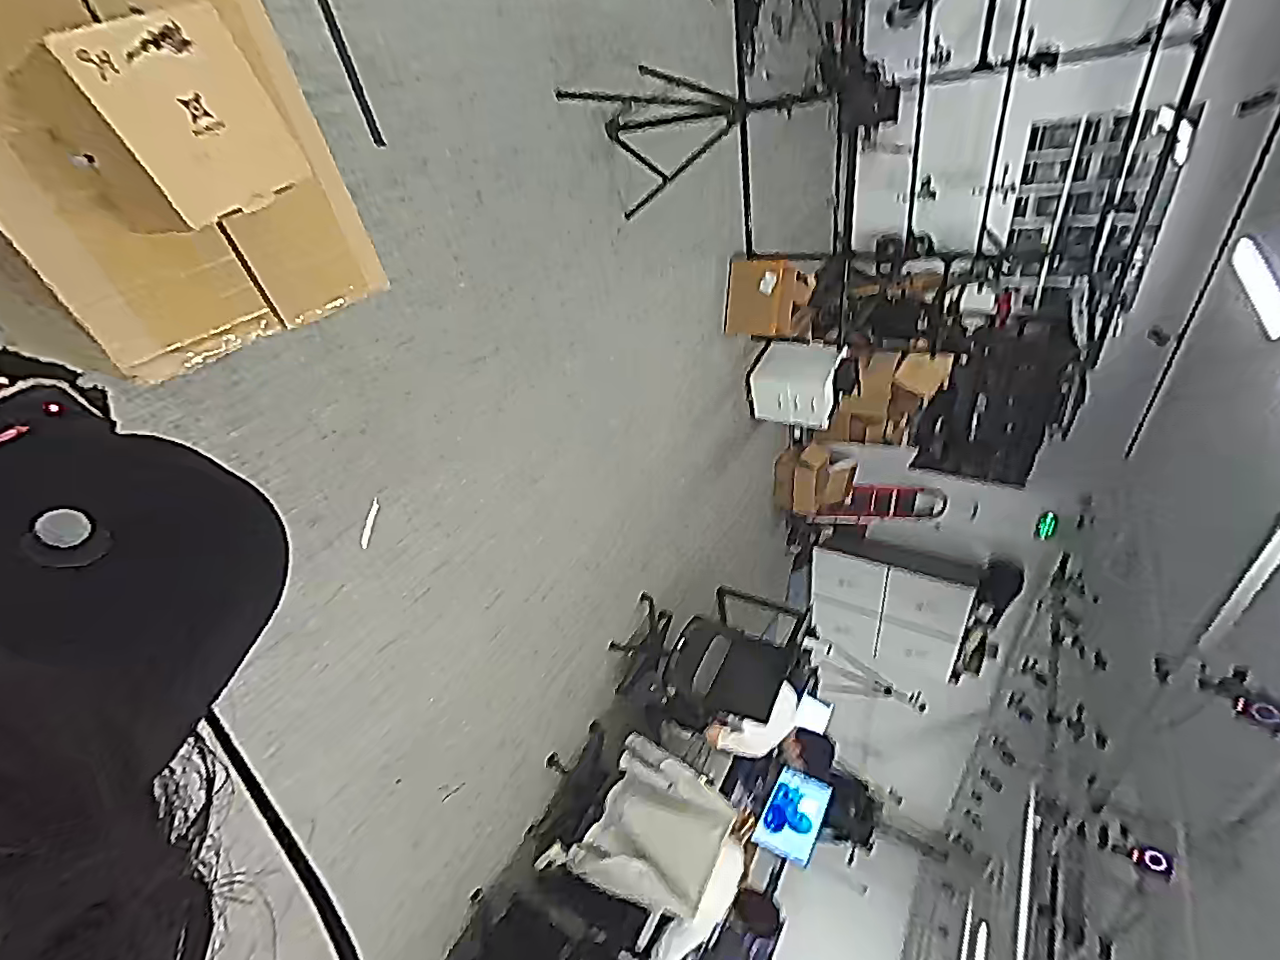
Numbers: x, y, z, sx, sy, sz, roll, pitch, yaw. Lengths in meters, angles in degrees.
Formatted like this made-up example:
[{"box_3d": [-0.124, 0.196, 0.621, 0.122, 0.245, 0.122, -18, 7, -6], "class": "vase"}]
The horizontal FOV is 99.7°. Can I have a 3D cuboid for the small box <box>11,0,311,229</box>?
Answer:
[{"box_3d": [-0.538, -0.410, 0.622, 0.168, 0.176, 0.179, -53, 142, -32], "class": "small box"}]
